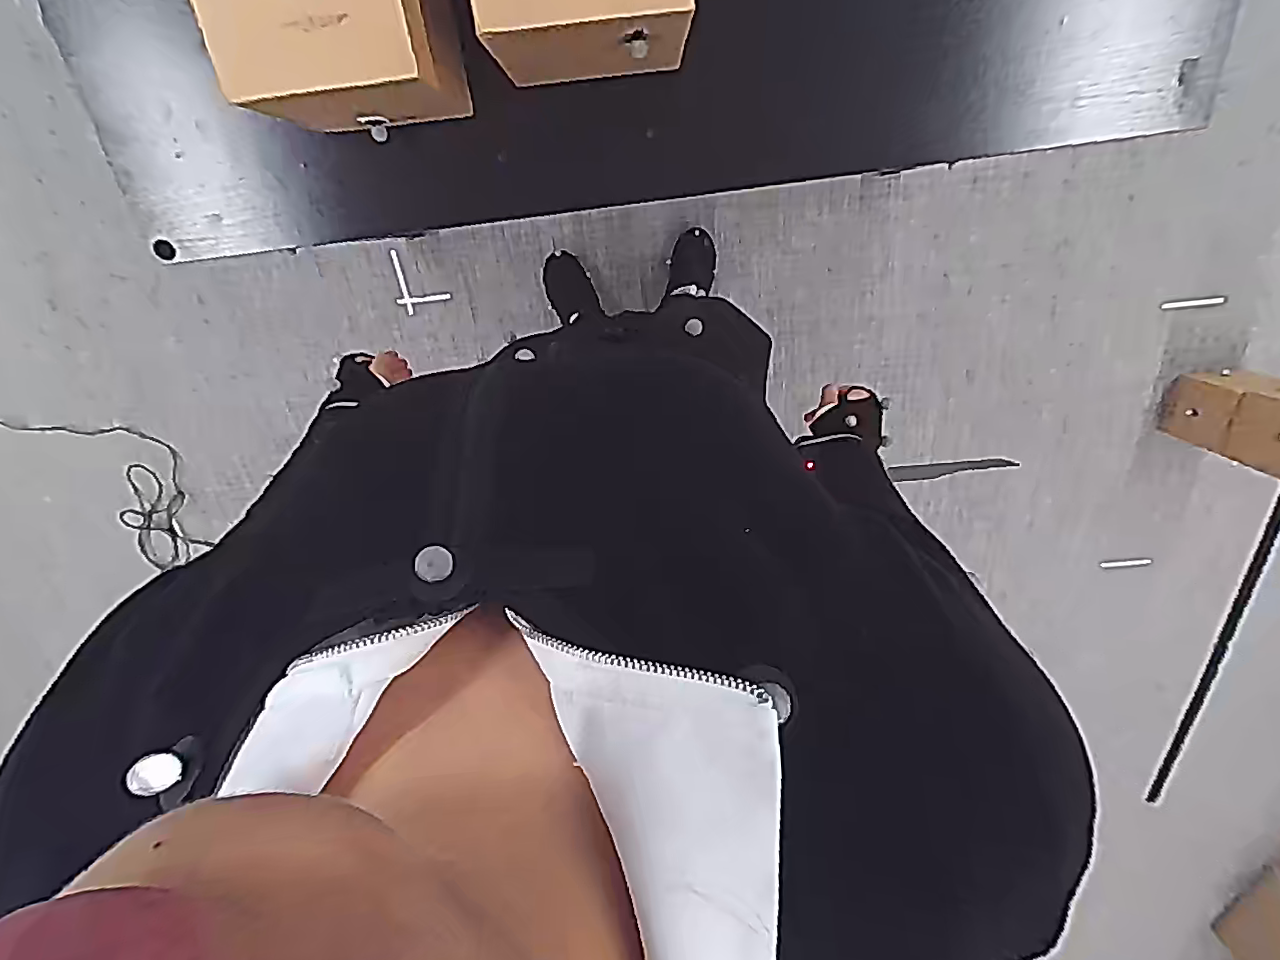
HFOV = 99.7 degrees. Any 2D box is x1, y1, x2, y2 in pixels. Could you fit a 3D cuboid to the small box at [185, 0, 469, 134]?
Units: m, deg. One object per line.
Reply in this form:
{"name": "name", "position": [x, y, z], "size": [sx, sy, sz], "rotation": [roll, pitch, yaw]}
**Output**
{"name": "small box", "position": [-0.269, -0.427, 0.473], "size": [0.168, 0.176, 0.179], "rotation": [-6, 115, 3]}

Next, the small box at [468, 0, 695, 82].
{"name": "small box", "position": [-0.053, -0.462, 0.458], "size": [0.179, 0.176, 0.168], "rotation": [-5, 114, 1]}

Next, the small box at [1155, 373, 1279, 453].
{"name": "small box", "position": [1.526, -0.179, 1.418], "size": [0.179, 0.176, 0.168], "rotation": [-4, 115, 2]}

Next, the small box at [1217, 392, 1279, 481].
{"name": "small box", "position": [1.535, -0.108, 1.268], "size": [0.168, 0.176, 0.179], "rotation": [-4, 116, 1]}
